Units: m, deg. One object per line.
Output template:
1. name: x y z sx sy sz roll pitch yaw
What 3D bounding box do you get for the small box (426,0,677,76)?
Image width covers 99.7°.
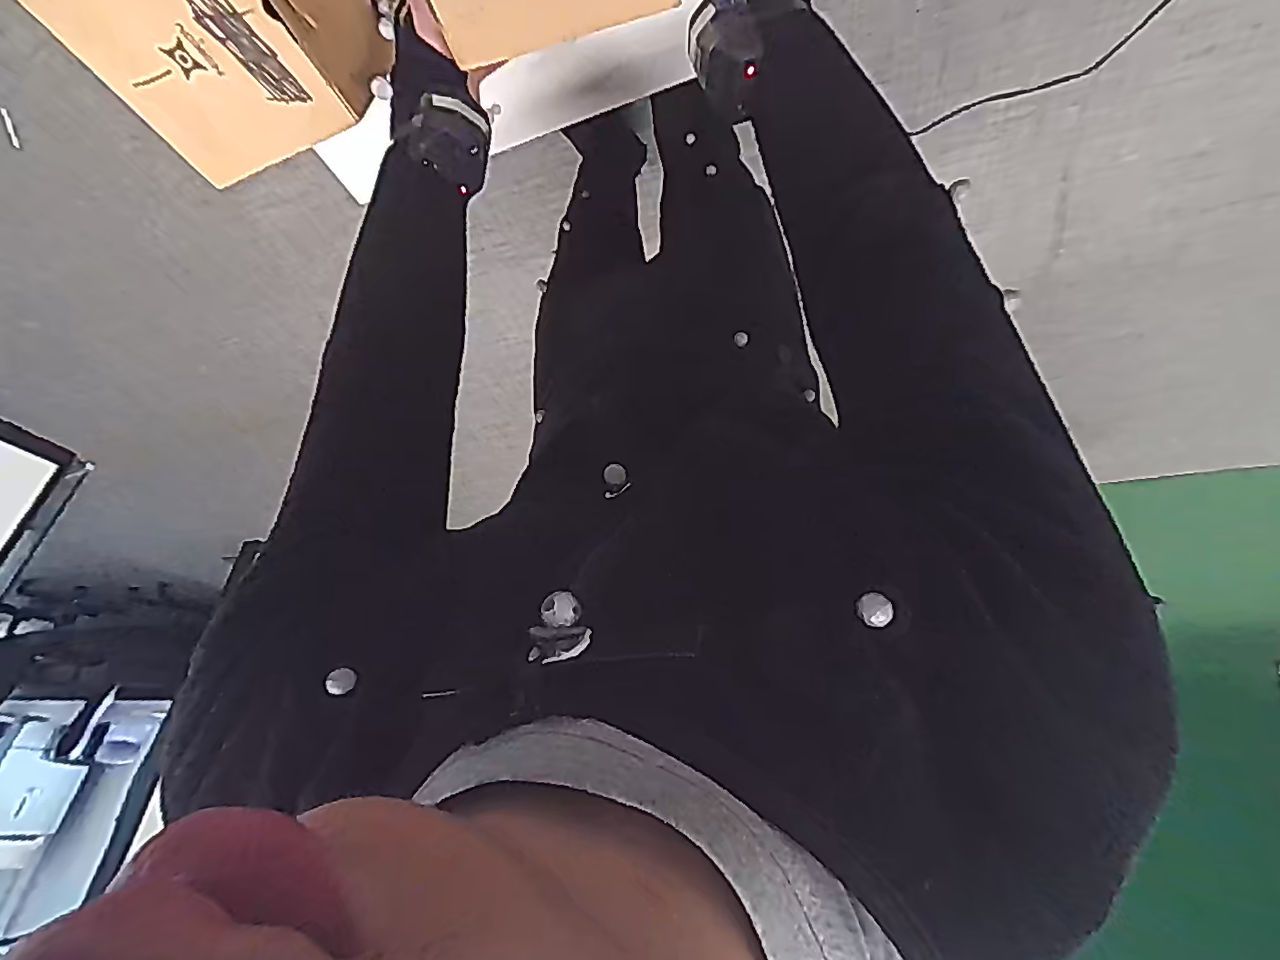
1. small box: -0.070 -0.427 0.372 0.179 0.176 0.168 -5 149 15
